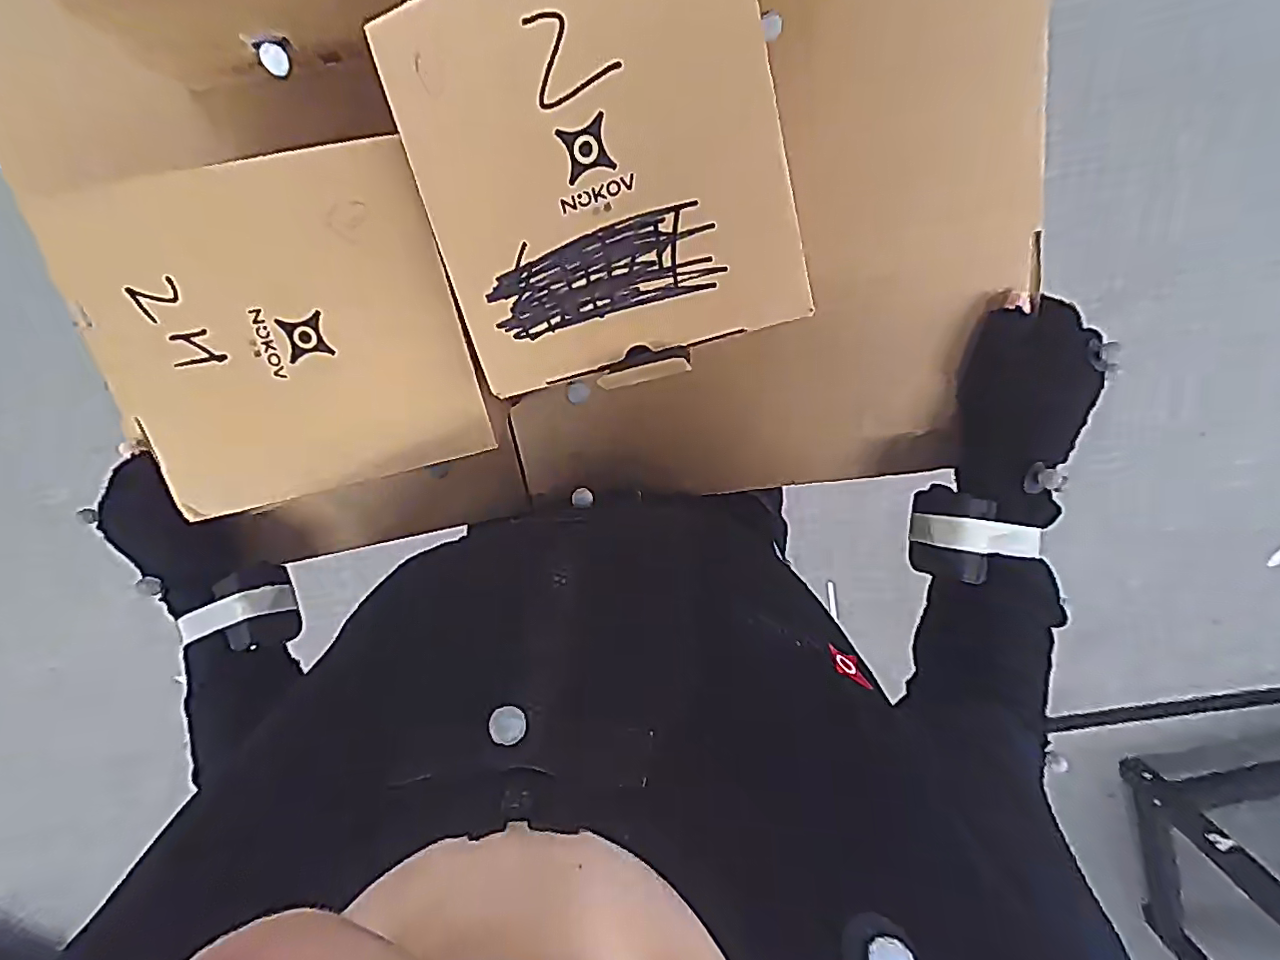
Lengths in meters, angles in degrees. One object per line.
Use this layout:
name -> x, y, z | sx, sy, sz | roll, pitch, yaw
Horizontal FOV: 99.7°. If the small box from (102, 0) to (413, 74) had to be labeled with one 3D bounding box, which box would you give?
small box -> -0.239, -0.356, 0.283 | 0.168, 0.176, 0.179 | -12, 108, -7
